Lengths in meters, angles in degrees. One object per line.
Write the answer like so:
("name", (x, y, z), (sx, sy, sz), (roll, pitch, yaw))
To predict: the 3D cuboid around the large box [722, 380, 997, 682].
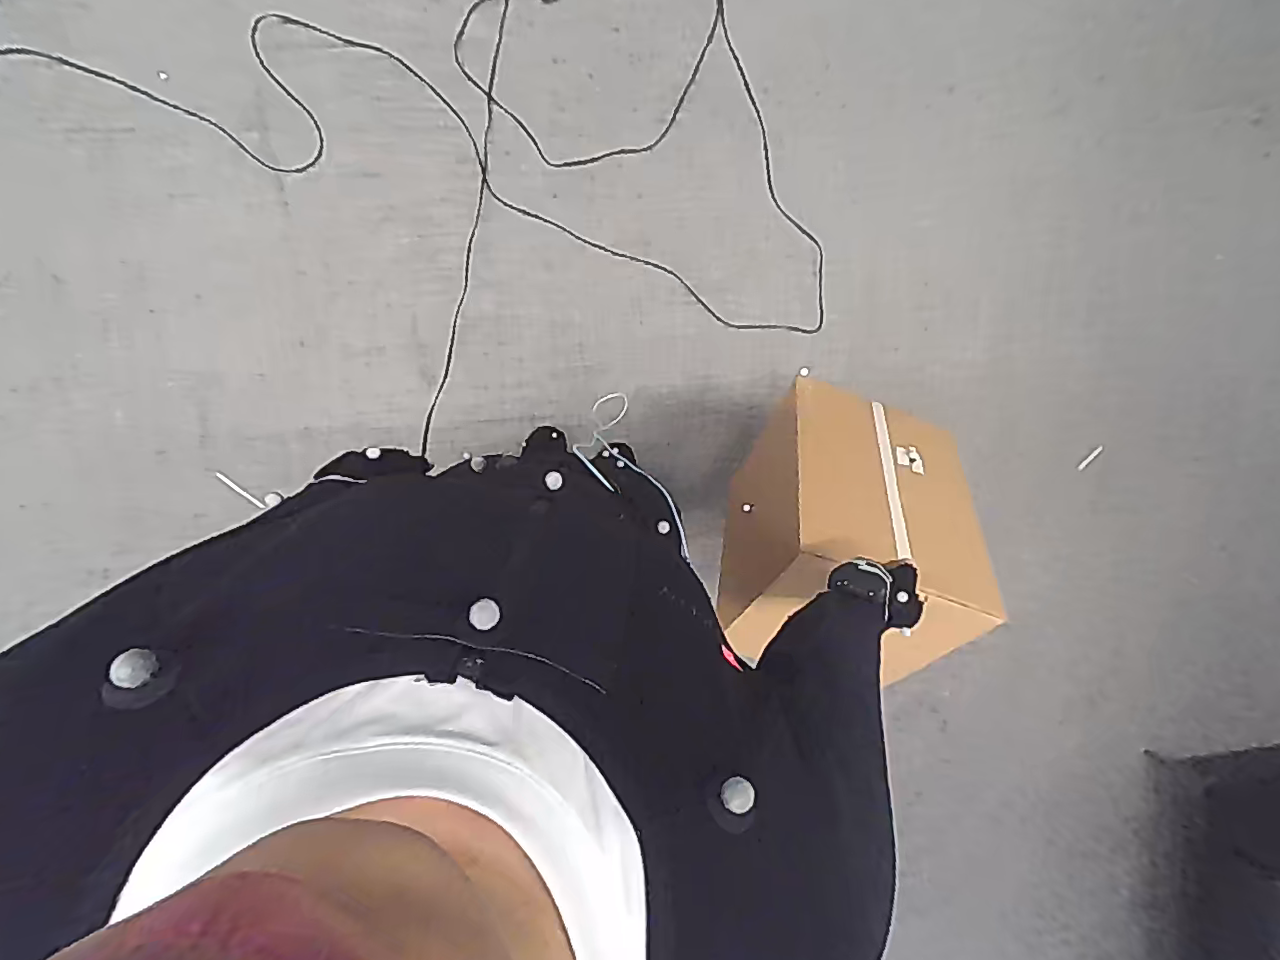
("large box", (0.354, 0.094, 0.991), (0.320, 0.408, 0.320), (18, 137, -5))
